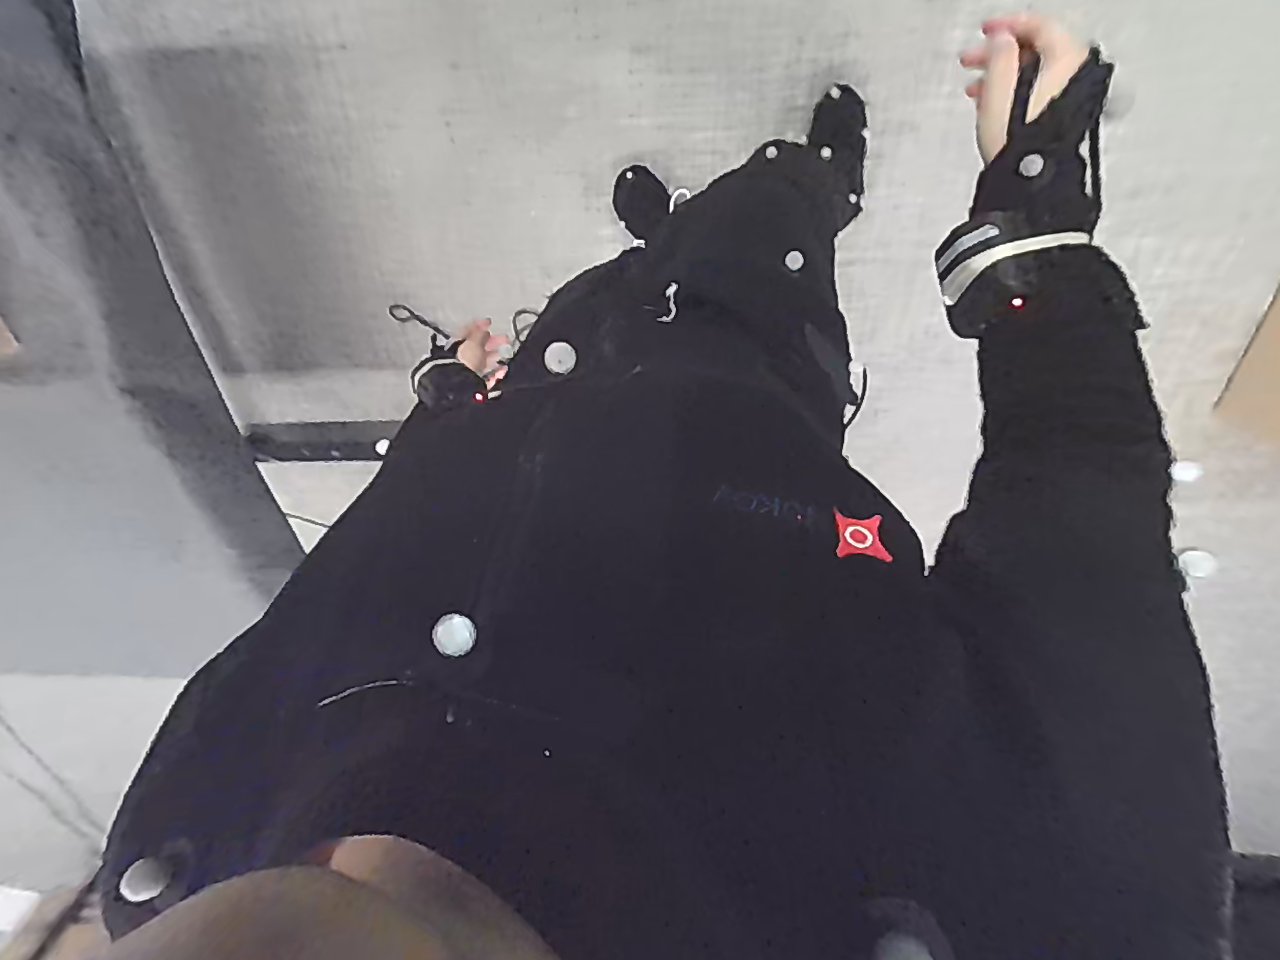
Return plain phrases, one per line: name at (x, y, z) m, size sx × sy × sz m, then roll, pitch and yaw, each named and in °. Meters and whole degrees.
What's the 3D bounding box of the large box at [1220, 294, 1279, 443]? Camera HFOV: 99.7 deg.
large box at (1.501, -0.257, 1.047) m, size 0.320 × 0.320 × 0.408 m, roll -2°, pitch 124°, yaw 6°
